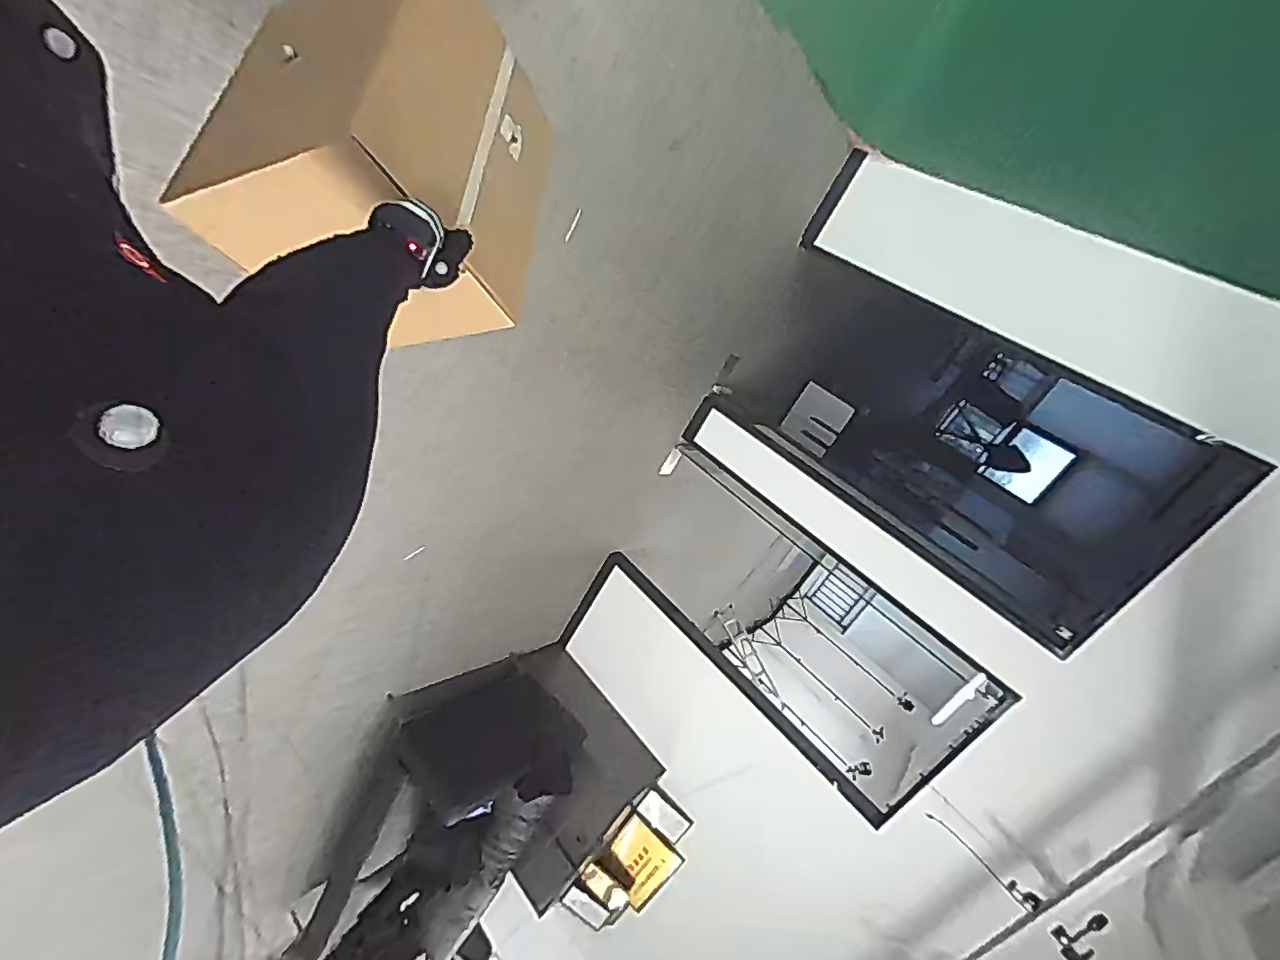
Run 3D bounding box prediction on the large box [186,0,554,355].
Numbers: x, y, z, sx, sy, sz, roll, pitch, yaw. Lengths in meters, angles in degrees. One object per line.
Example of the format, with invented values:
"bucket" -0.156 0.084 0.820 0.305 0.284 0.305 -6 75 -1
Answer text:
"large box" -0.361 -0.455 0.810 0.320 0.320 0.408 48 43 -60
